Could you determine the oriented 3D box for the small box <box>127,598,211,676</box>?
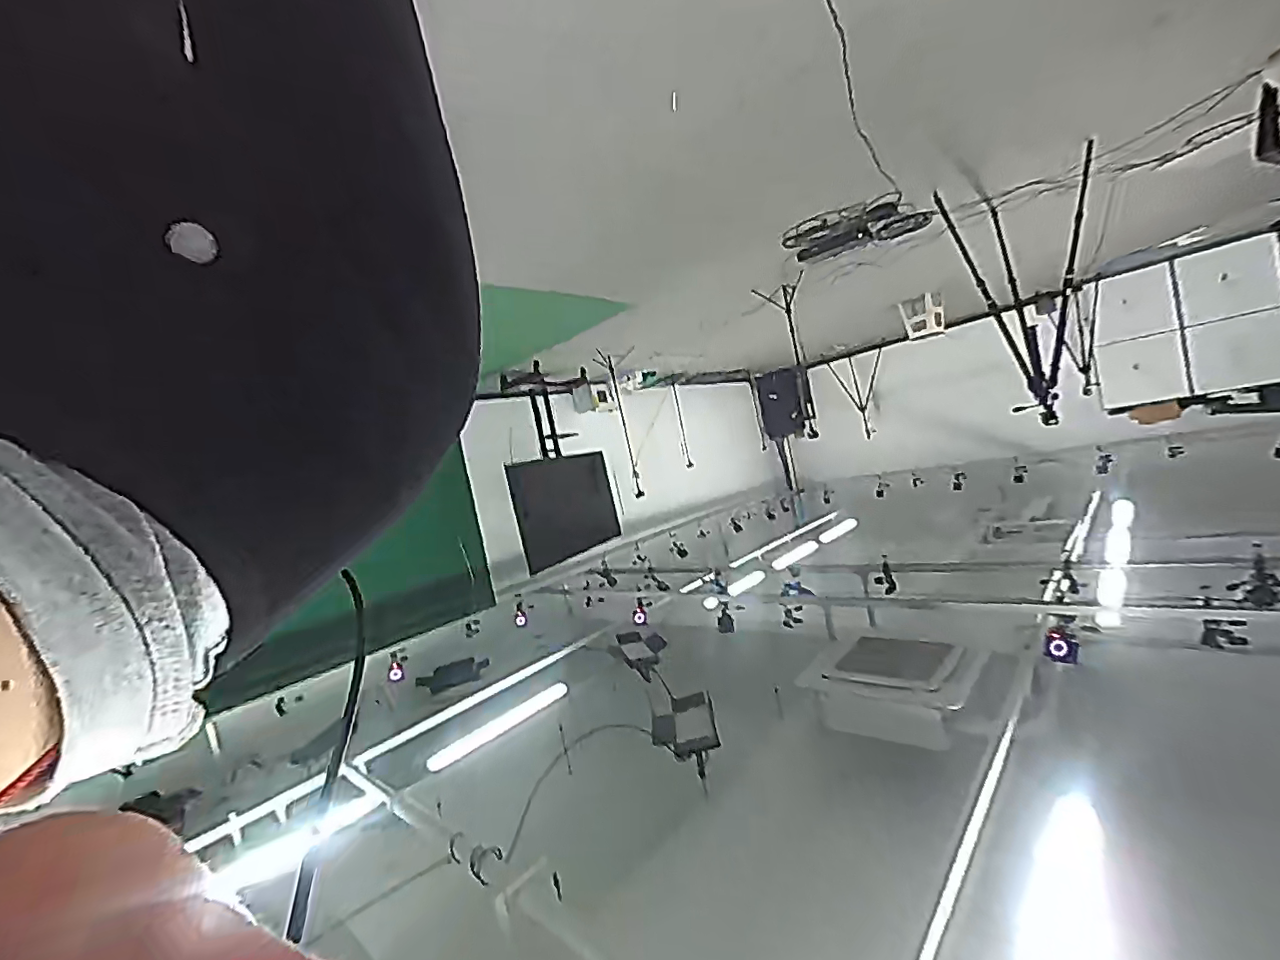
[{"bbox_3d":[-1.427,0.469,1.644,0.168,0.176,0.179,-11,-178,-37],"label":"small box"}]
